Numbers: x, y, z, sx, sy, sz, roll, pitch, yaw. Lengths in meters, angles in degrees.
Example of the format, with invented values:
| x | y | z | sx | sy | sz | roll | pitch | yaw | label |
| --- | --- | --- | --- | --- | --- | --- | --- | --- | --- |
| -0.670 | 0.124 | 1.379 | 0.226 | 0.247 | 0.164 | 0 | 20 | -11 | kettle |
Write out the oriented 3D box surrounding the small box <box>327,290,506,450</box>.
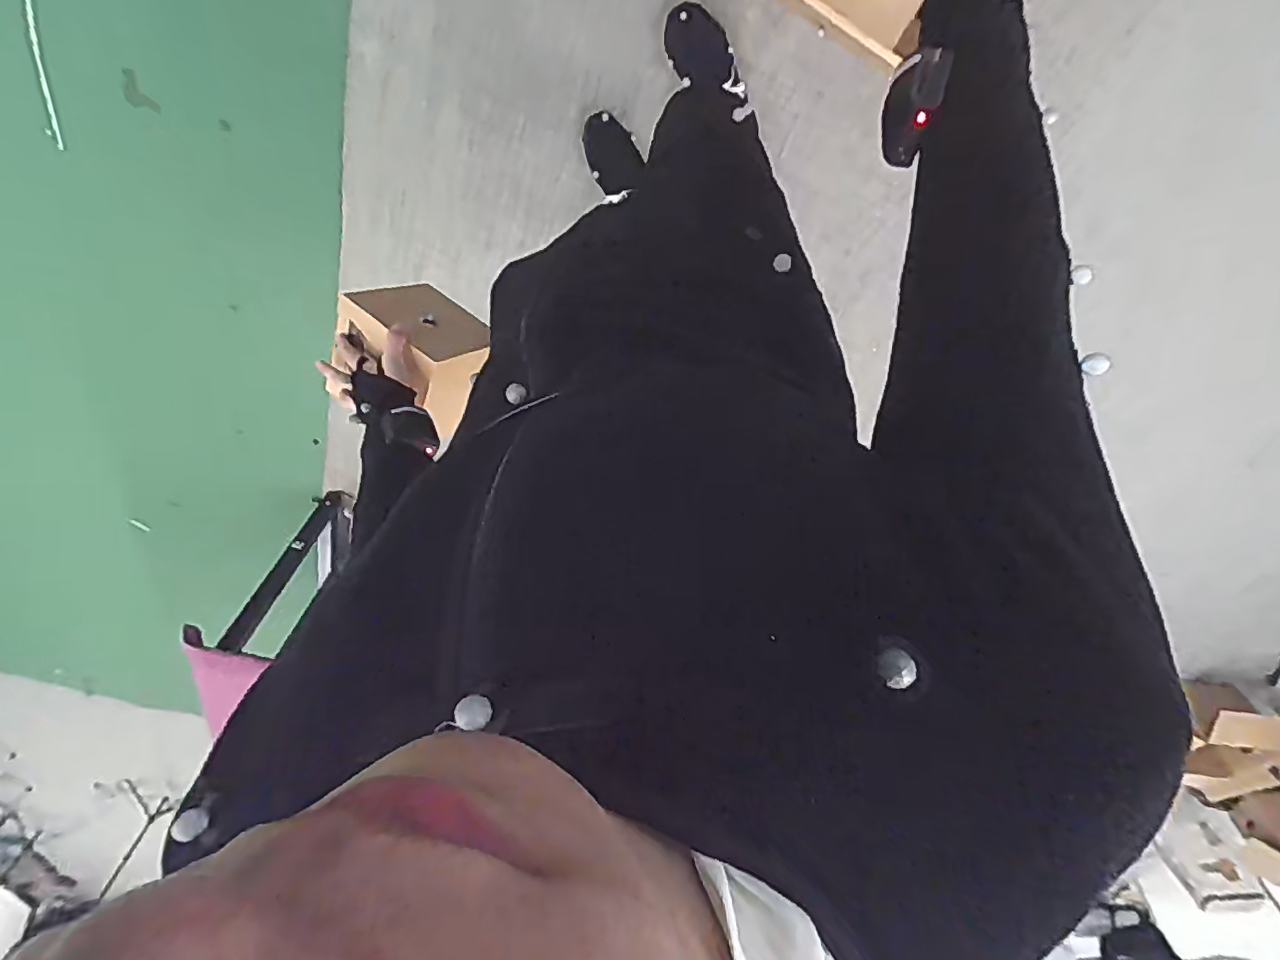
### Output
| x | y | z | sx | sy | sz | roll | pitch | yaw | label |
| --- | --- | --- | --- | --- | --- | --- | --- | --- | --- |
| -0.344 | -0.180 | 0.843 | 0.179 | 0.176 | 0.168 | 34 | 123 | 6 | small box |
